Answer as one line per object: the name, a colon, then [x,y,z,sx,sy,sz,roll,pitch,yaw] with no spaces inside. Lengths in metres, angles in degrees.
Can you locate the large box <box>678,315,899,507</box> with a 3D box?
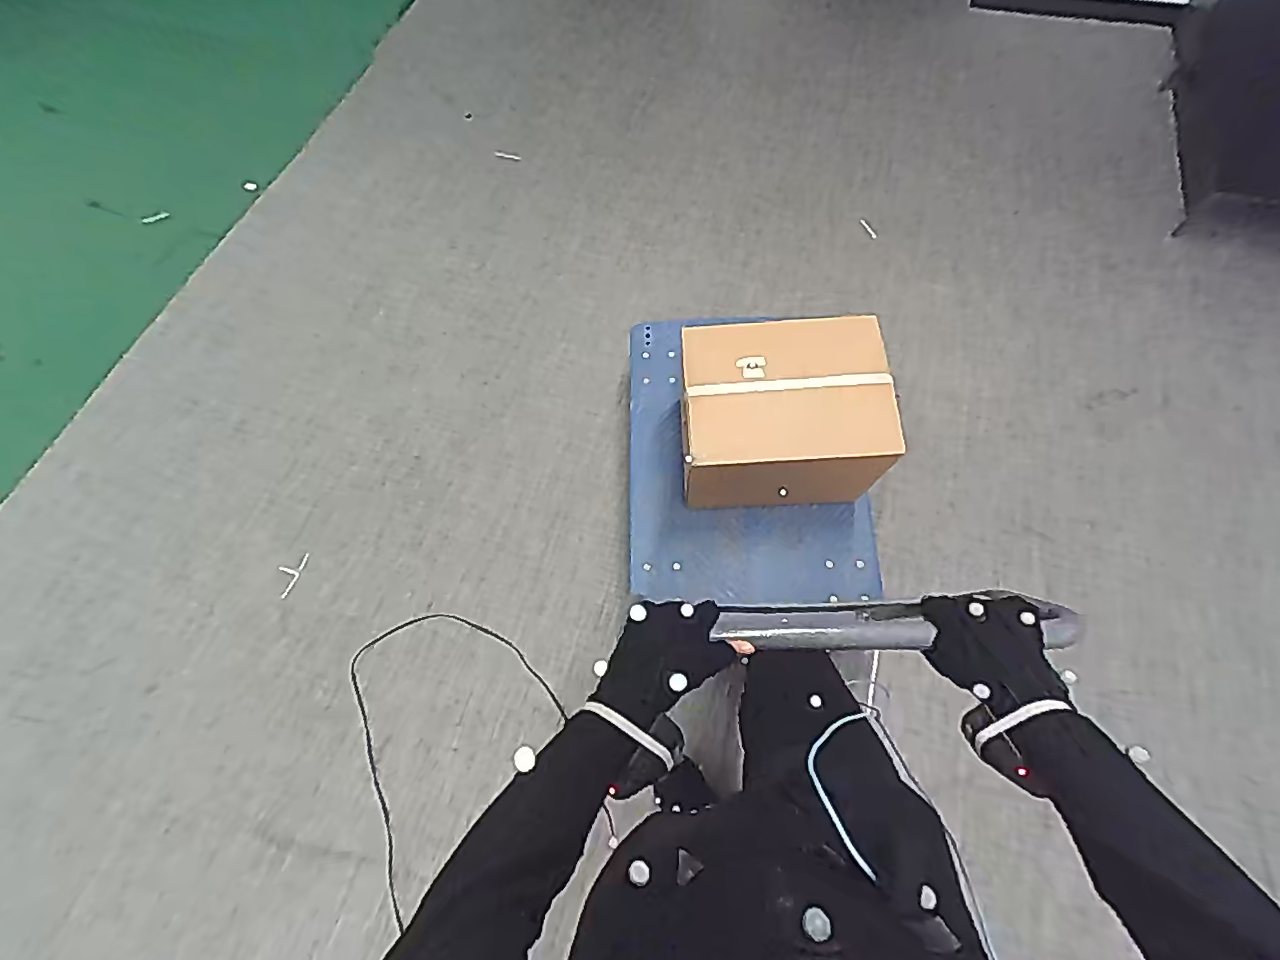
large box: [0.302,-0.136,1.228,0.408,0.320,0.320,-5,71,4]
